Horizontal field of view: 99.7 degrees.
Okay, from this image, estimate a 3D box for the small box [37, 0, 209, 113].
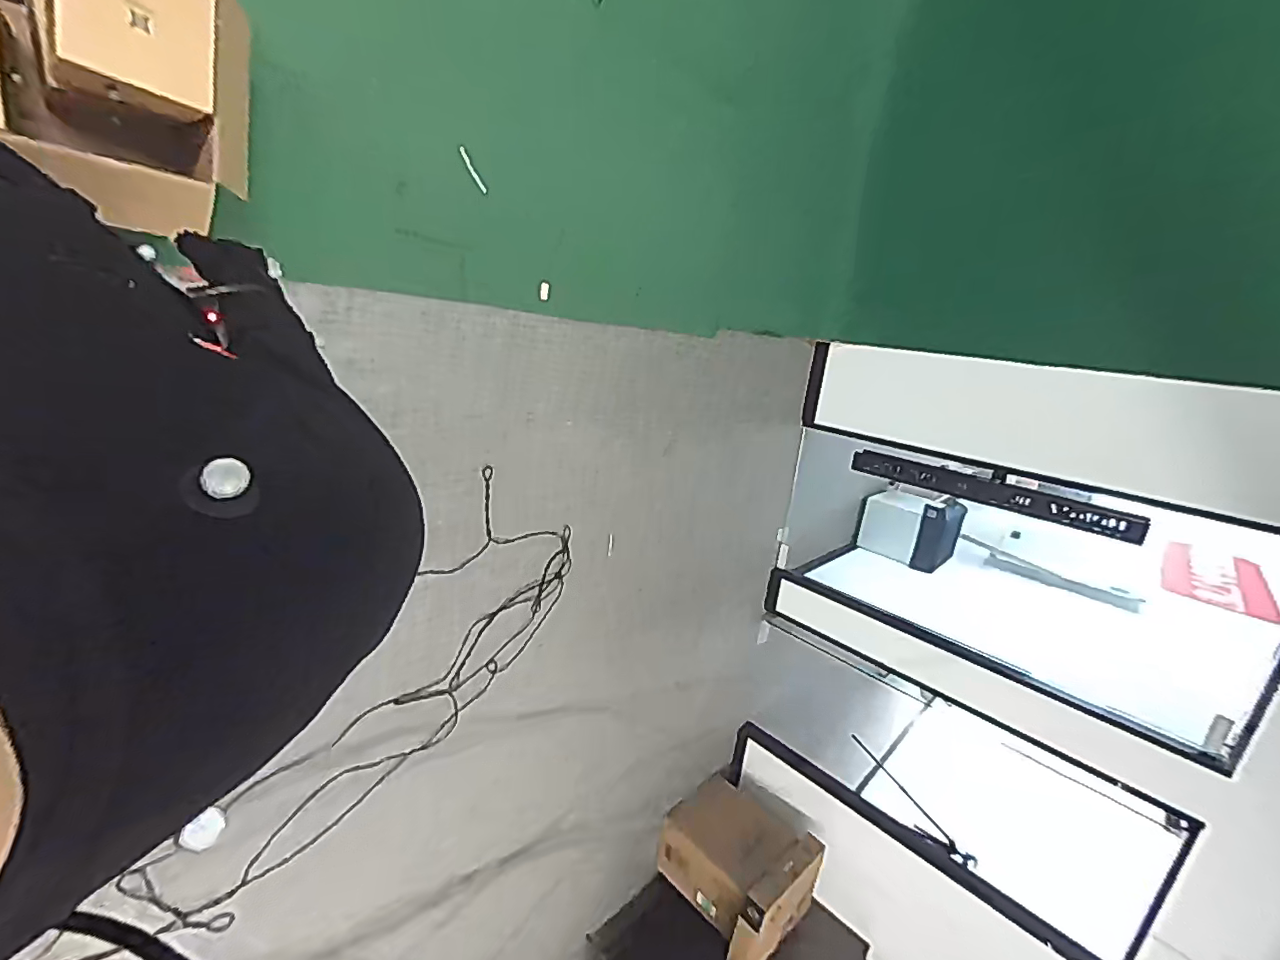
[{"bbox_3d":[-0.742,-0.664,0.779,0.168,0.176,0.179,-4,109,-49],"label":"small box"}]
